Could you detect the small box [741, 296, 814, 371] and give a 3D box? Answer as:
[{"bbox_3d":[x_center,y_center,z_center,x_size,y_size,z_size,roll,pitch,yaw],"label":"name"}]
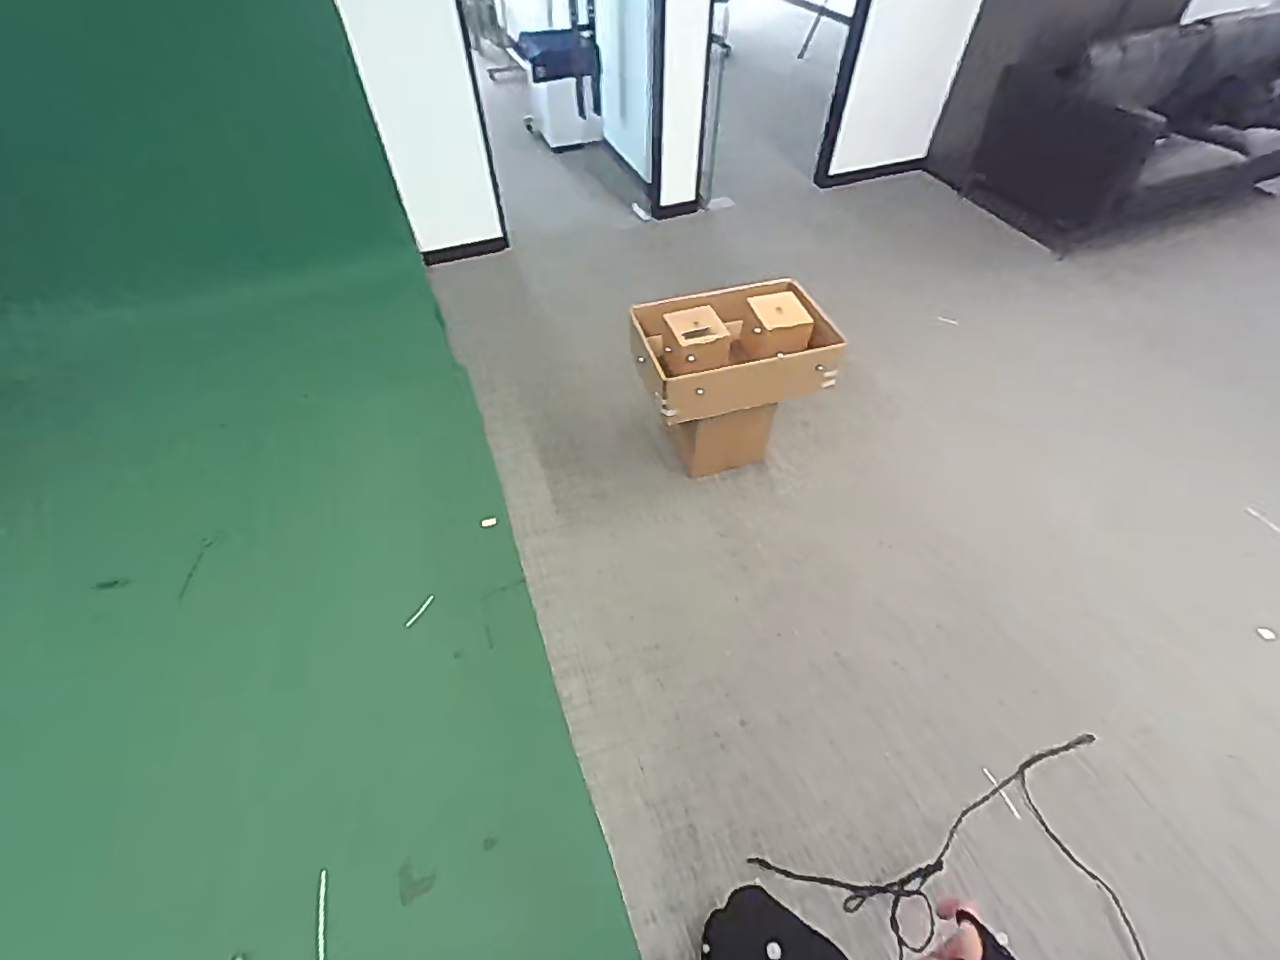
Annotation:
[{"bbox_3d":[0.452,-0.492,1.818,0.168,0.176,0.179,-12,53,-10],"label":"small box"}]
